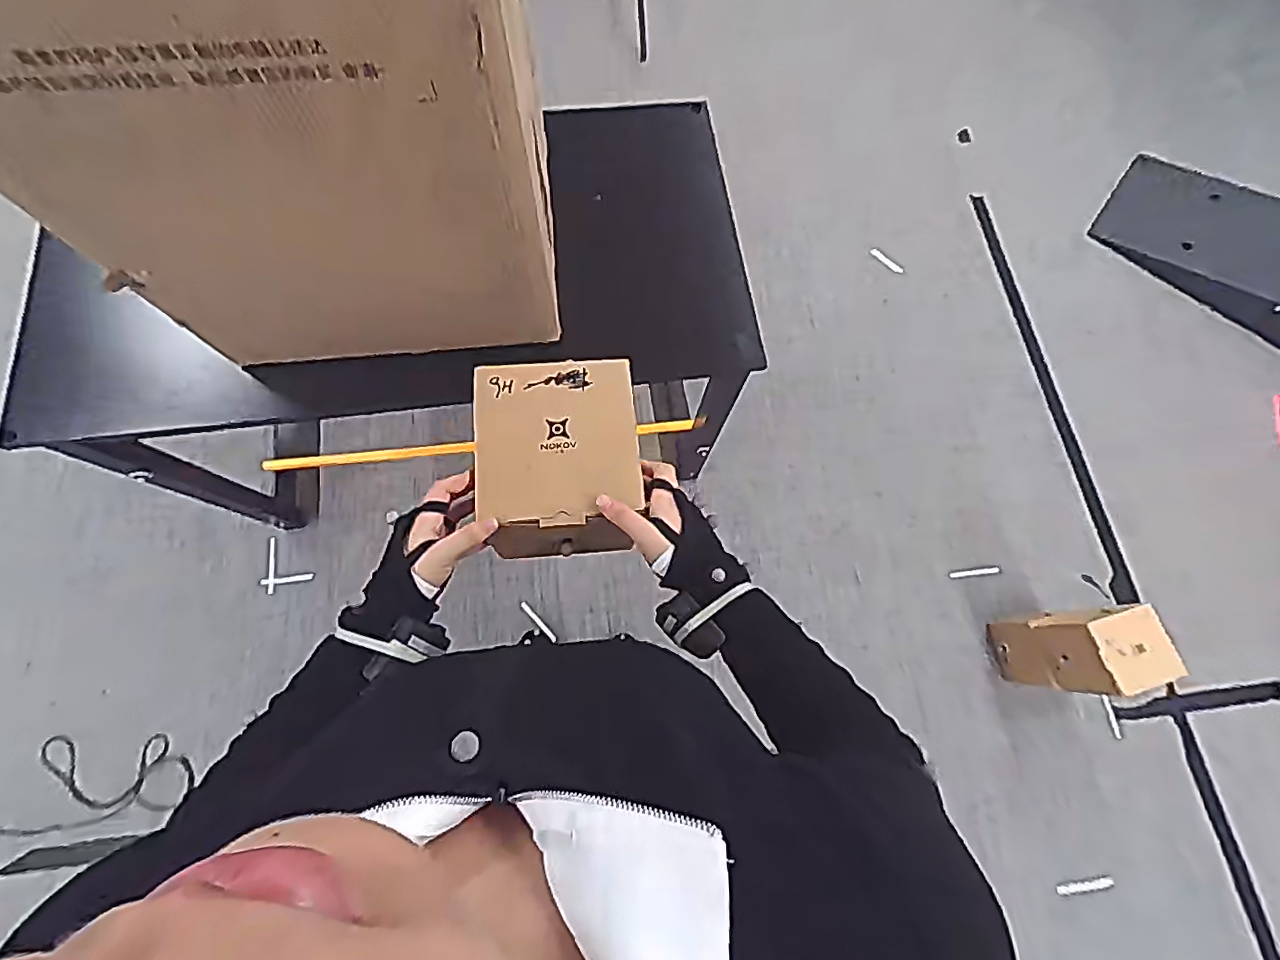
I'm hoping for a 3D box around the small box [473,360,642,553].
[{"bbox_3d":[-0.090,-0.016,0.619,0.168,0.176,0.179,-5,72,-6],"label":"small box"}]

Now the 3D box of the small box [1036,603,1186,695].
[{"bbox_3d":[1.113,0.401,1.294,0.179,0.176,0.168,-14,73,-7],"label":"small box"}]

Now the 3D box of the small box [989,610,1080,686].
[{"bbox_3d":[1.092,0.447,1.452,0.179,0.176,0.168,-10,73,-5],"label":"small box"}]
